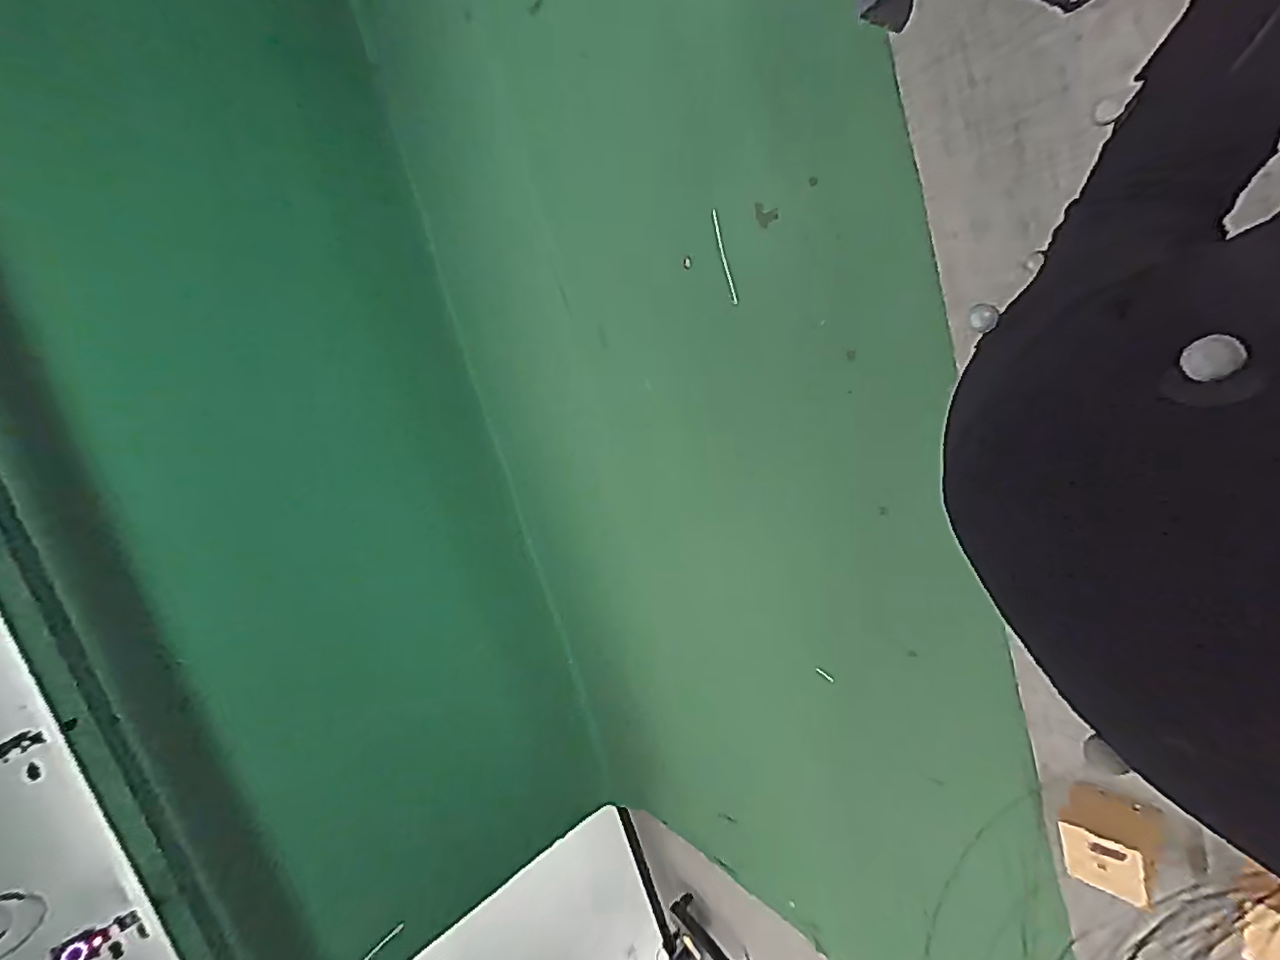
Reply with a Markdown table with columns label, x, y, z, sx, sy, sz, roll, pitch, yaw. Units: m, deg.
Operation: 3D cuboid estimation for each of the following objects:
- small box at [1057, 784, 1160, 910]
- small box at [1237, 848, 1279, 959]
| label | x | y | z | sx | sy | sz | roll | pitch | yaw |
| --- | --- | --- | --- | --- | --- | --- | --- | --- | --- |
| small box | 1.216 | 0.938 | 1.403 | 0.168 | 0.176 | 0.179 | -1 | 108 | 54 |
| small box | 1.406 | 0.945 | 1.147 | 0.168 | 0.176 | 0.179 | 6 | 113 | 53 |
